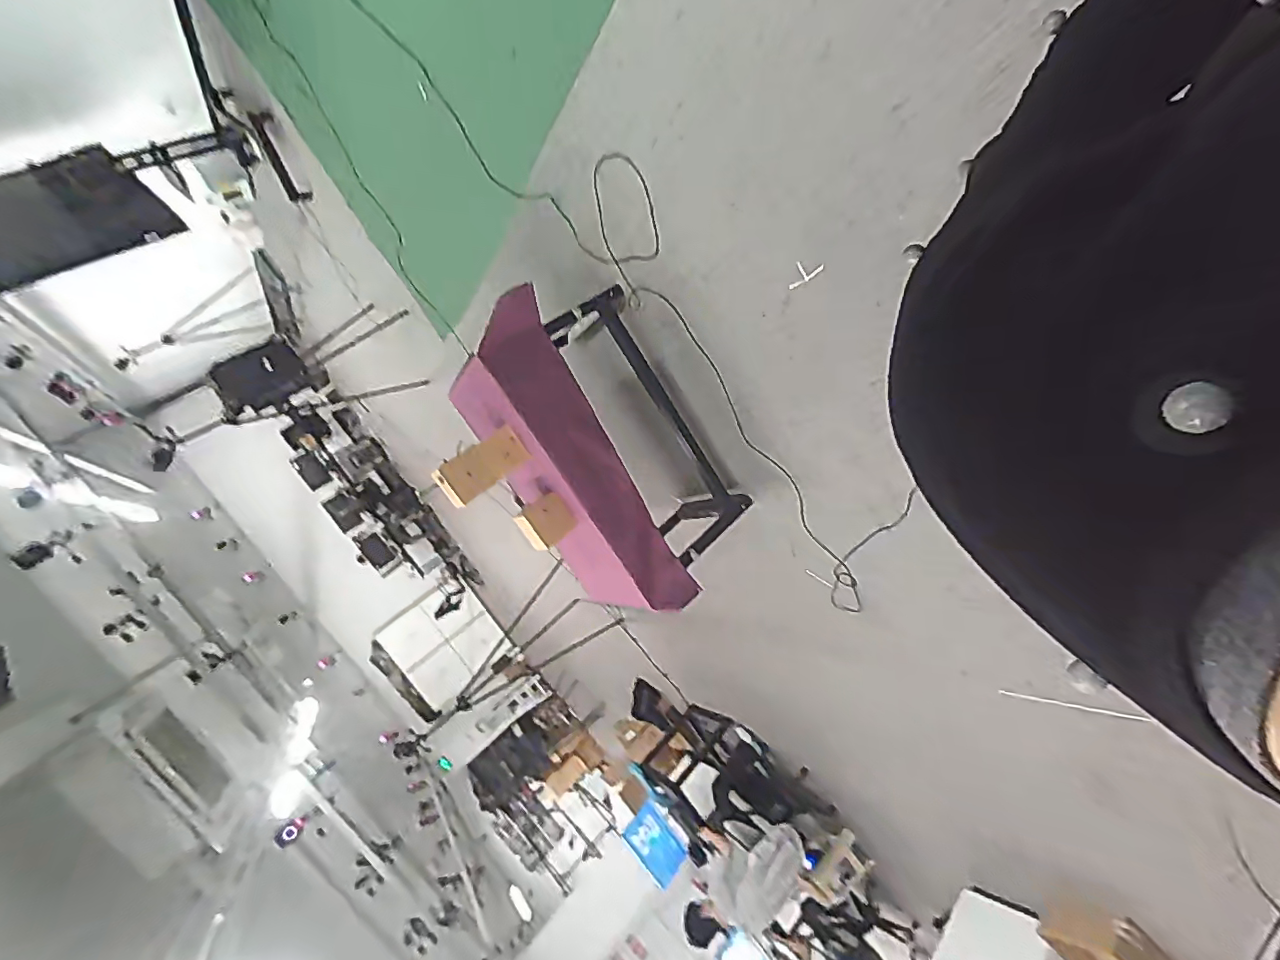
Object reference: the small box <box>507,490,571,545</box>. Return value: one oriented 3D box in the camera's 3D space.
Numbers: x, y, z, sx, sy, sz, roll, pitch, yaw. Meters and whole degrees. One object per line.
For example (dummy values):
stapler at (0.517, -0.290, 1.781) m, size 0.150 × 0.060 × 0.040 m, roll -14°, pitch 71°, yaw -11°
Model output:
small box at (-0.419, 0.151, 2.255) m, size 0.179 × 0.176 × 0.168 m, roll 57°, pitch 152°, yaw -12°

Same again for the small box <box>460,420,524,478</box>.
small box at (-0.595, -0.125, 2.185) m, size 0.168 × 0.176 × 0.179 m, roll 58°, pitch 152°, yaw -13°
